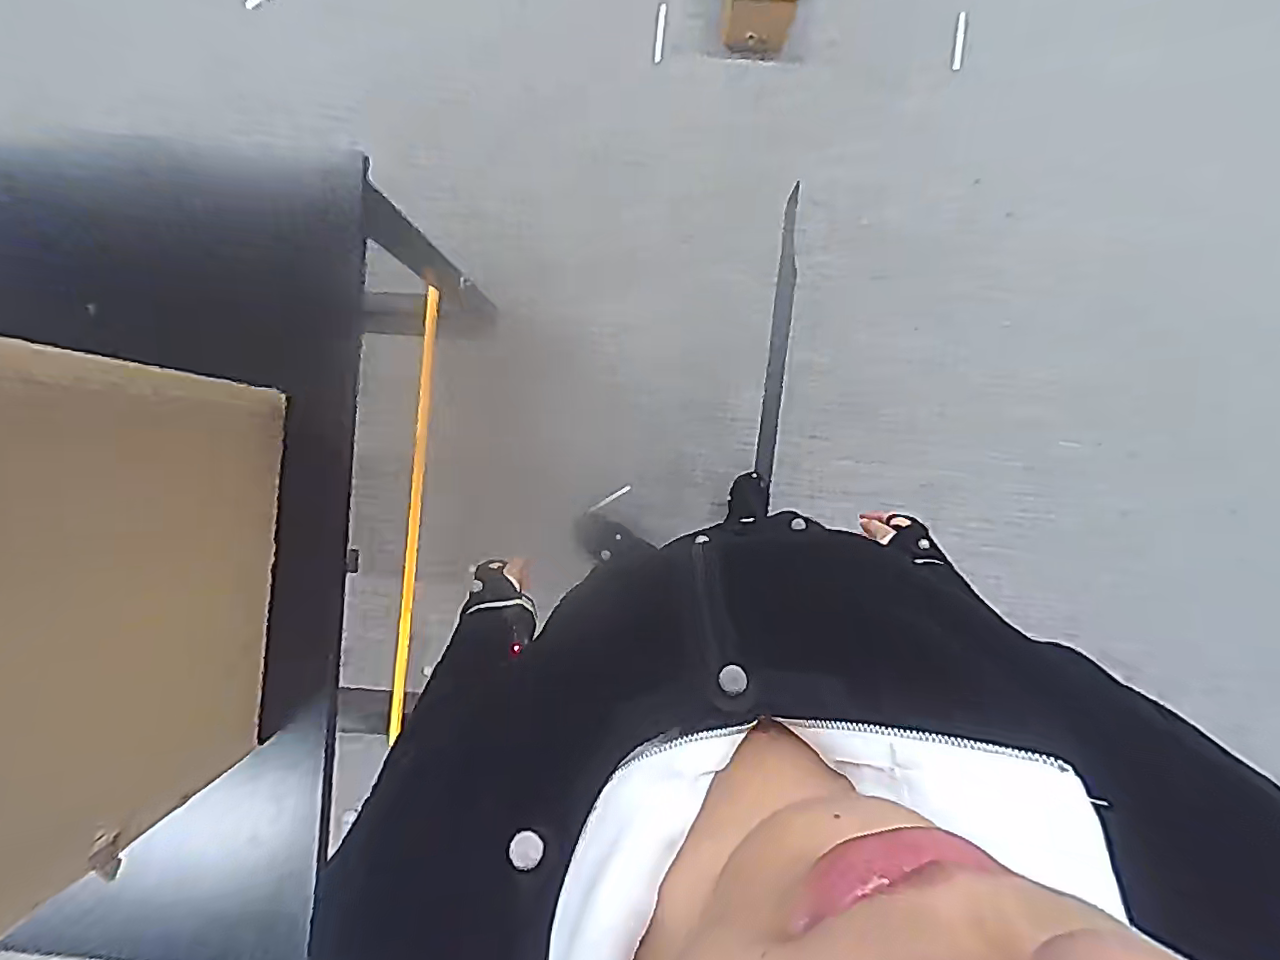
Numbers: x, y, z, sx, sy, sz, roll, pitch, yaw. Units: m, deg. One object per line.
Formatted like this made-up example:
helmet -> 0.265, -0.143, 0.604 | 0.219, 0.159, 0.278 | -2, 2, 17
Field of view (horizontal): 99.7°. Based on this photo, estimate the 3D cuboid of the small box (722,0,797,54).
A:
small box -> 0.304, -1.238, 1.373 | 0.168, 0.176, 0.179 | 4, 93, 2
